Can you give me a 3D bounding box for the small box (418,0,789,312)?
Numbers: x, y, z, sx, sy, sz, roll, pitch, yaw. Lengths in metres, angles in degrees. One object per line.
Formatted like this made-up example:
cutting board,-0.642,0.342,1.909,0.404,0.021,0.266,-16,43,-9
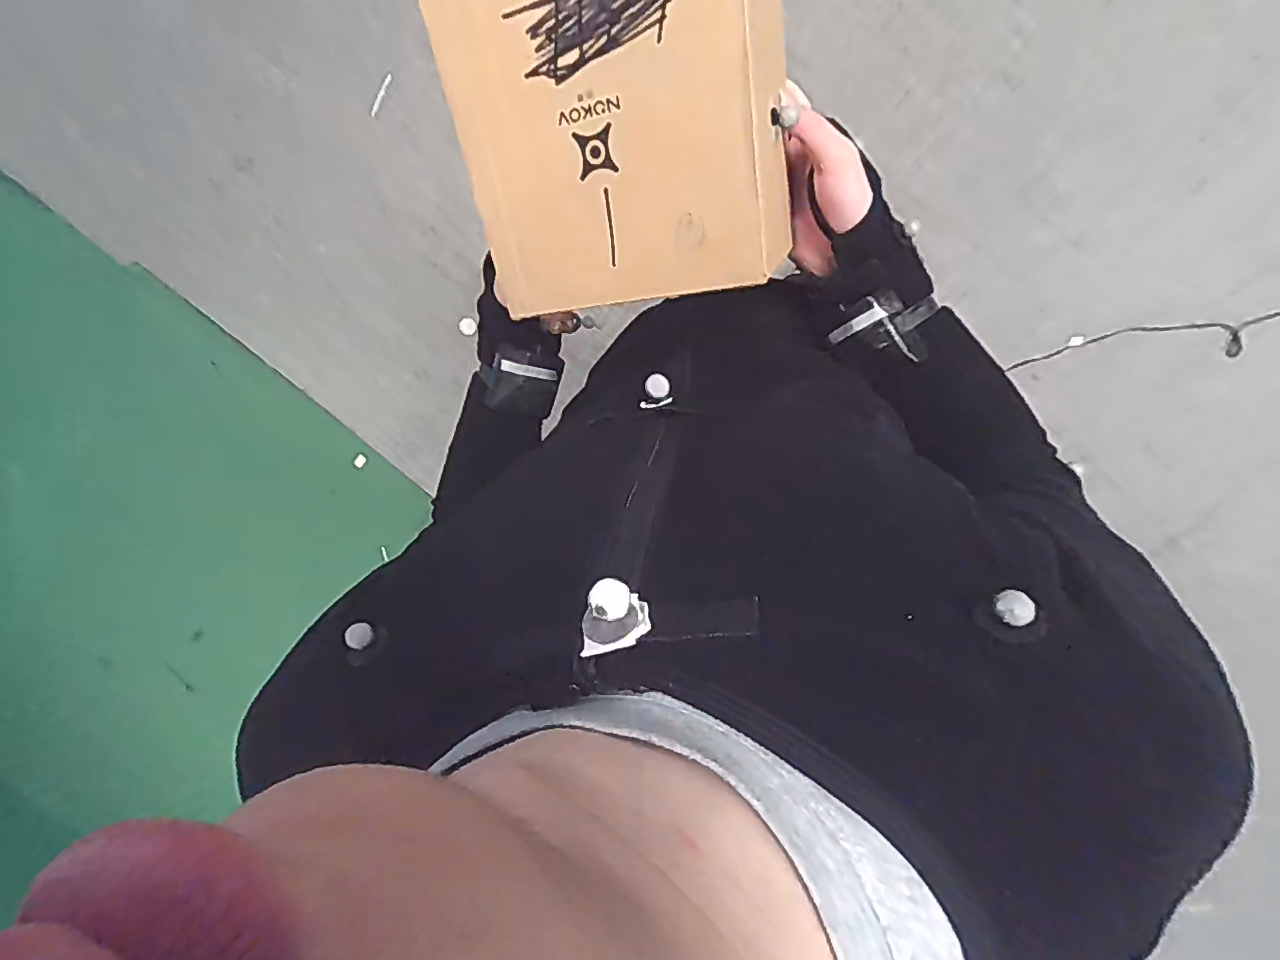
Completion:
small box,0.000,-0.221,0.345,0.168,0.176,0.179,0,119,22
